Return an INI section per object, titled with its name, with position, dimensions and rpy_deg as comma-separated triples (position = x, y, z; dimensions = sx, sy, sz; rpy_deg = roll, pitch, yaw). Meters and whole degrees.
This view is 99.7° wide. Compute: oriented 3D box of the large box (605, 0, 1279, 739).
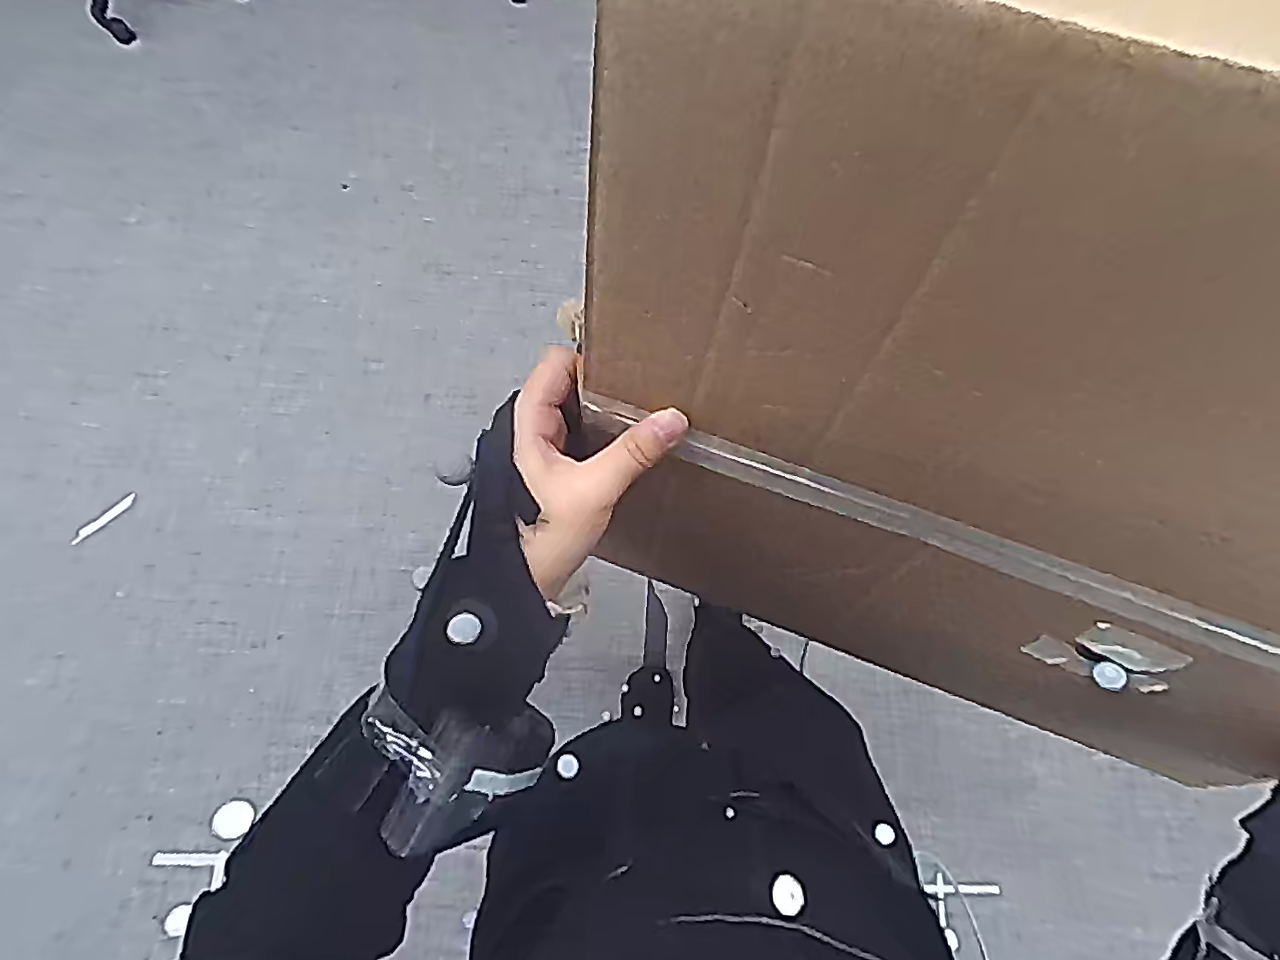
[large box]
position = 0.222, -0.112, 0.299
dimensions = 0.408, 0.320, 0.320
rpy_deg = 19, 56, 6
